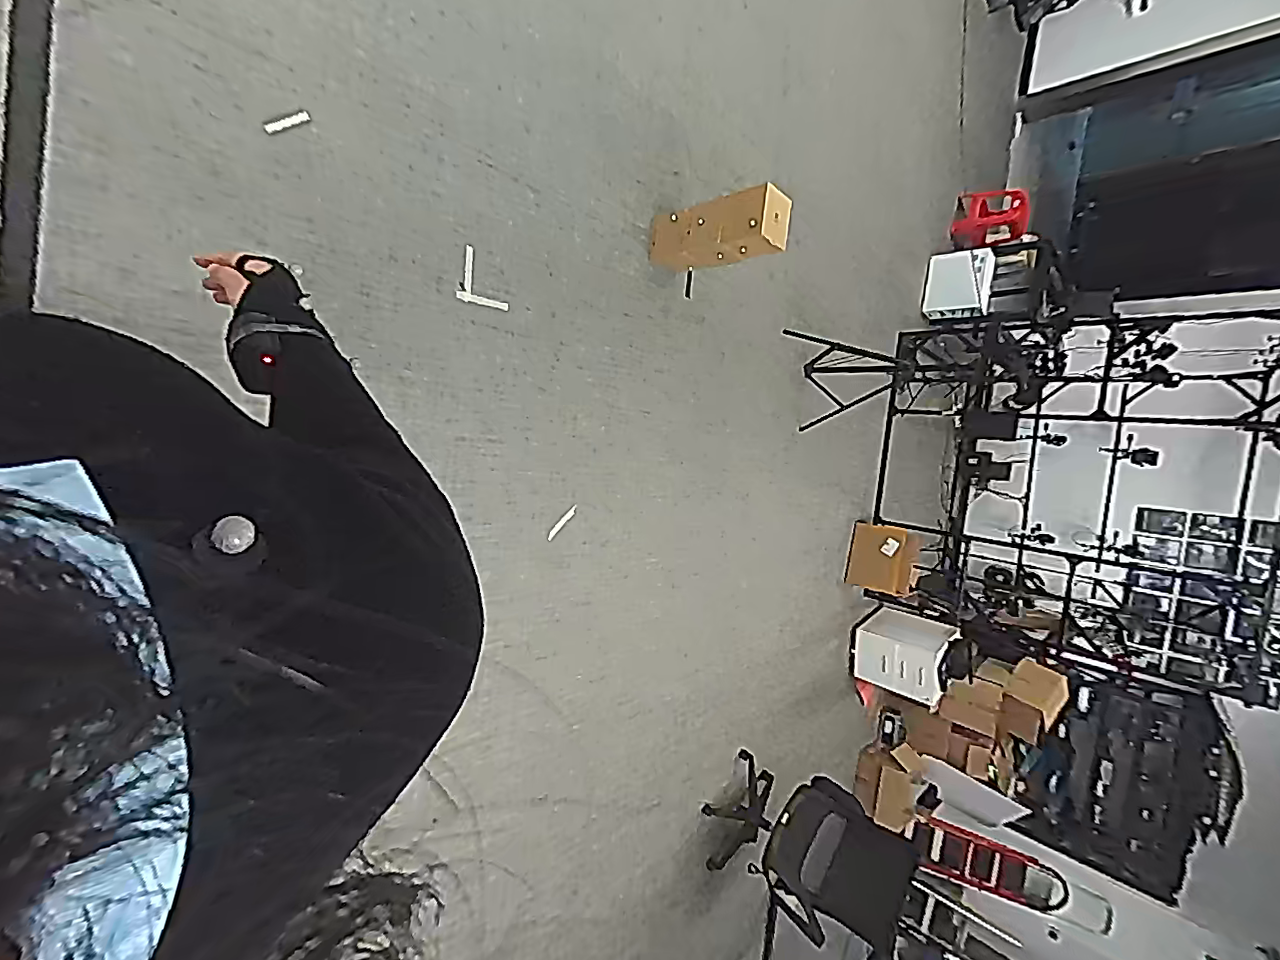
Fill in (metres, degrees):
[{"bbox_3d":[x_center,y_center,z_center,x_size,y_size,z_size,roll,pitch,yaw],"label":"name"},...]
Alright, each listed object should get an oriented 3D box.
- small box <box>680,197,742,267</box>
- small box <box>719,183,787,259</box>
[{"bbox_3d":[0.269,-0.901,1.985,0.179,0.176,0.168,9,91,-48],"label":"small box"},{"bbox_3d":[0.390,-0.891,1.876,0.168,0.176,0.179,3,95,-47],"label":"small box"}]
